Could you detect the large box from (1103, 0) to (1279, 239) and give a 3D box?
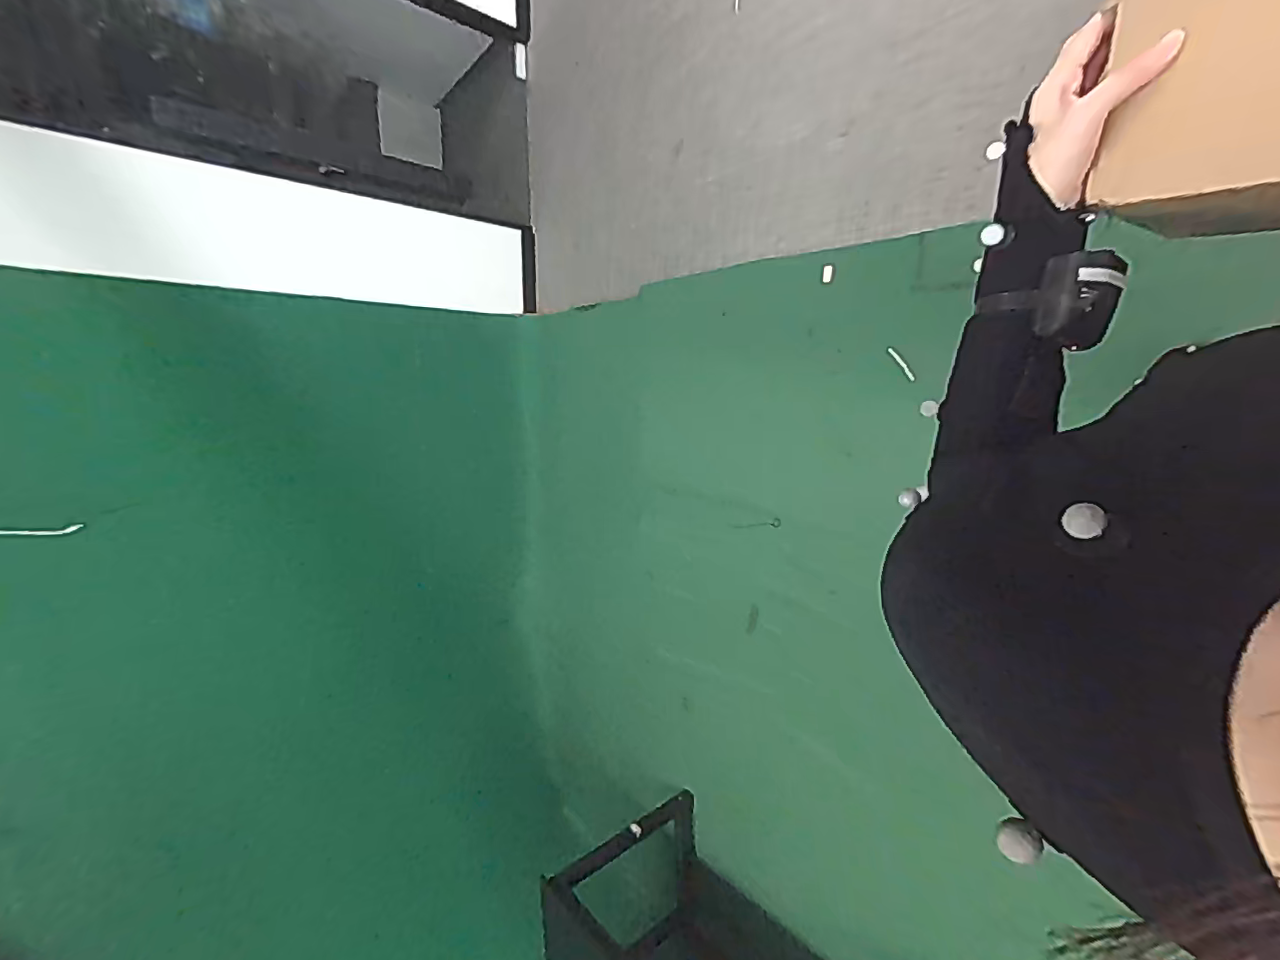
[{"bbox_3d":[0.575,-0.344,0.307,0.408,0.320,0.320,16,114,48],"label":"large box"}]
